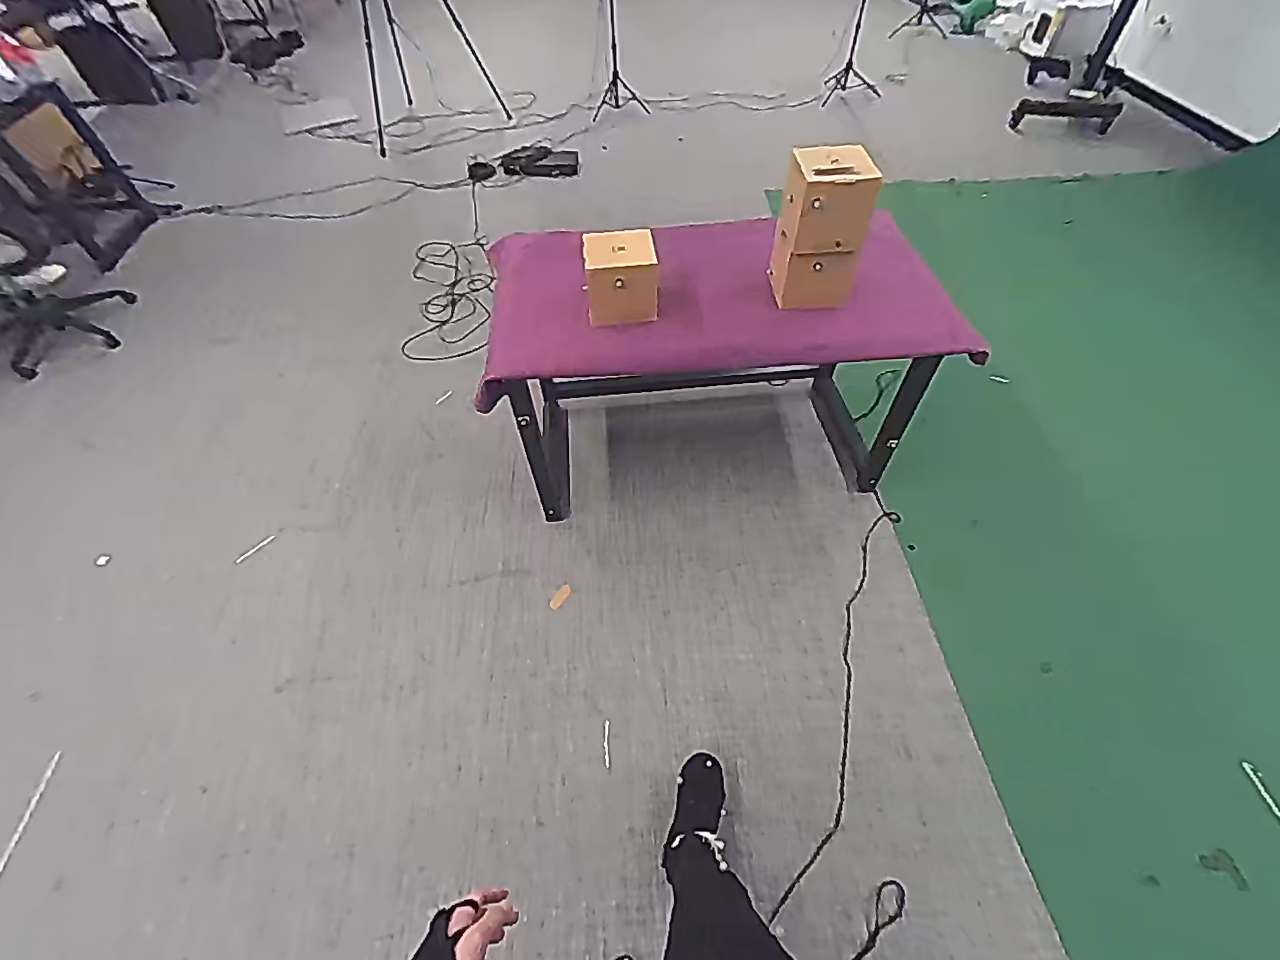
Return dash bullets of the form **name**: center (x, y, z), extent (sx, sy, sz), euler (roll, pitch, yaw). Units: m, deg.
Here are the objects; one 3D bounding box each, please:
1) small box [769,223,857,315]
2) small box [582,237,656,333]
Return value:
- **small box**: center (0.442, -0.550, 1.421), extent (0.179, 0.176, 0.168), euler (-2, 52, 0)
- **small box**: center (-0.054, -0.503, 1.404), extent (0.179, 0.176, 0.168), euler (-6, 53, -2)
